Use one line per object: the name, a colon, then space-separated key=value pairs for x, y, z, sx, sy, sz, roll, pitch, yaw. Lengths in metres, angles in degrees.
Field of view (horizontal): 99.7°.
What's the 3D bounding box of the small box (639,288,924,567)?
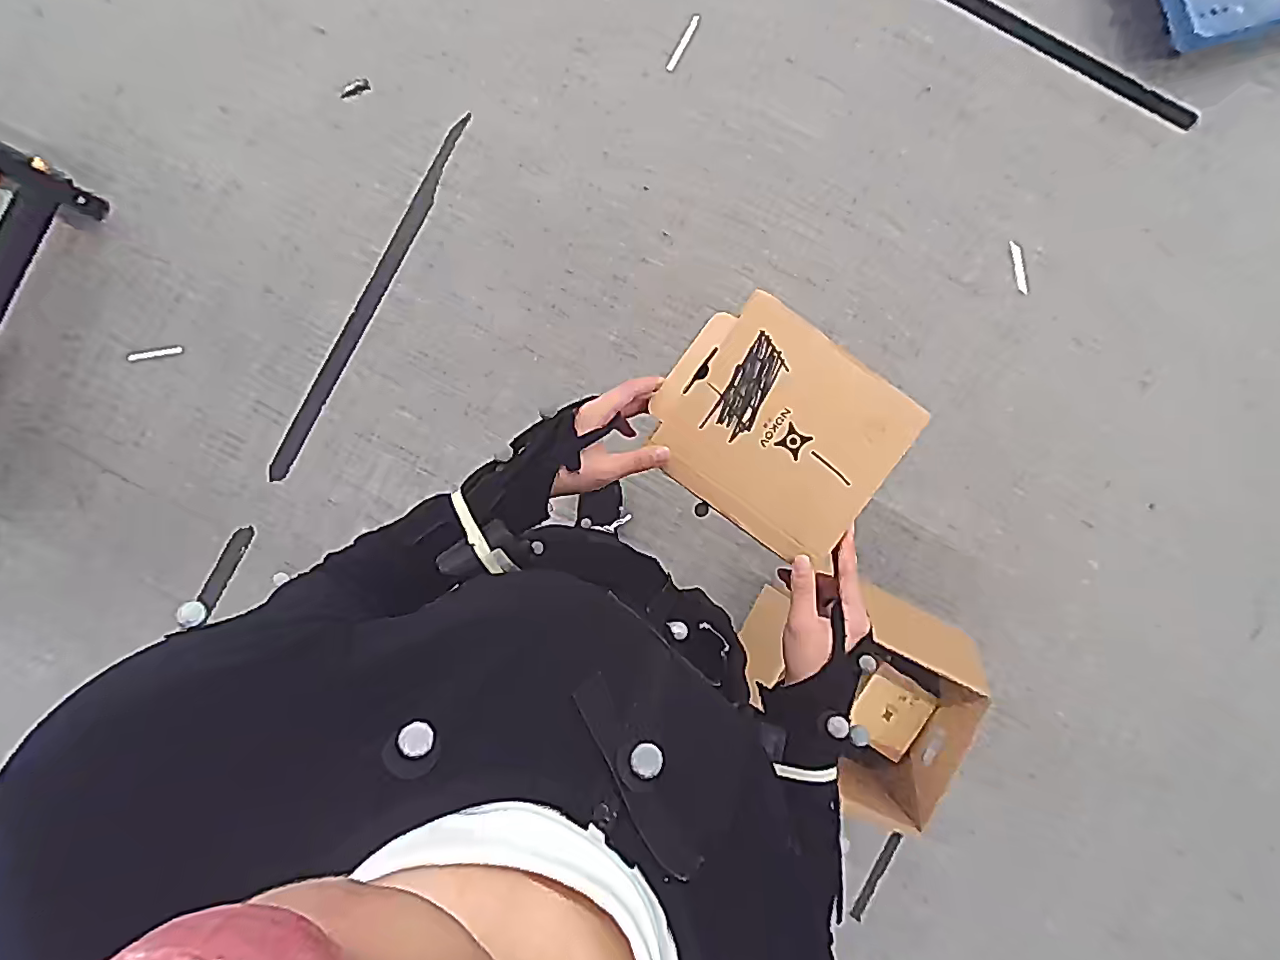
small box: x=0.115 y=-0.044 z=0.518 sx=0.179 sy=0.176 sz=0.168 roll=36 pitch=92 yaw=-1
